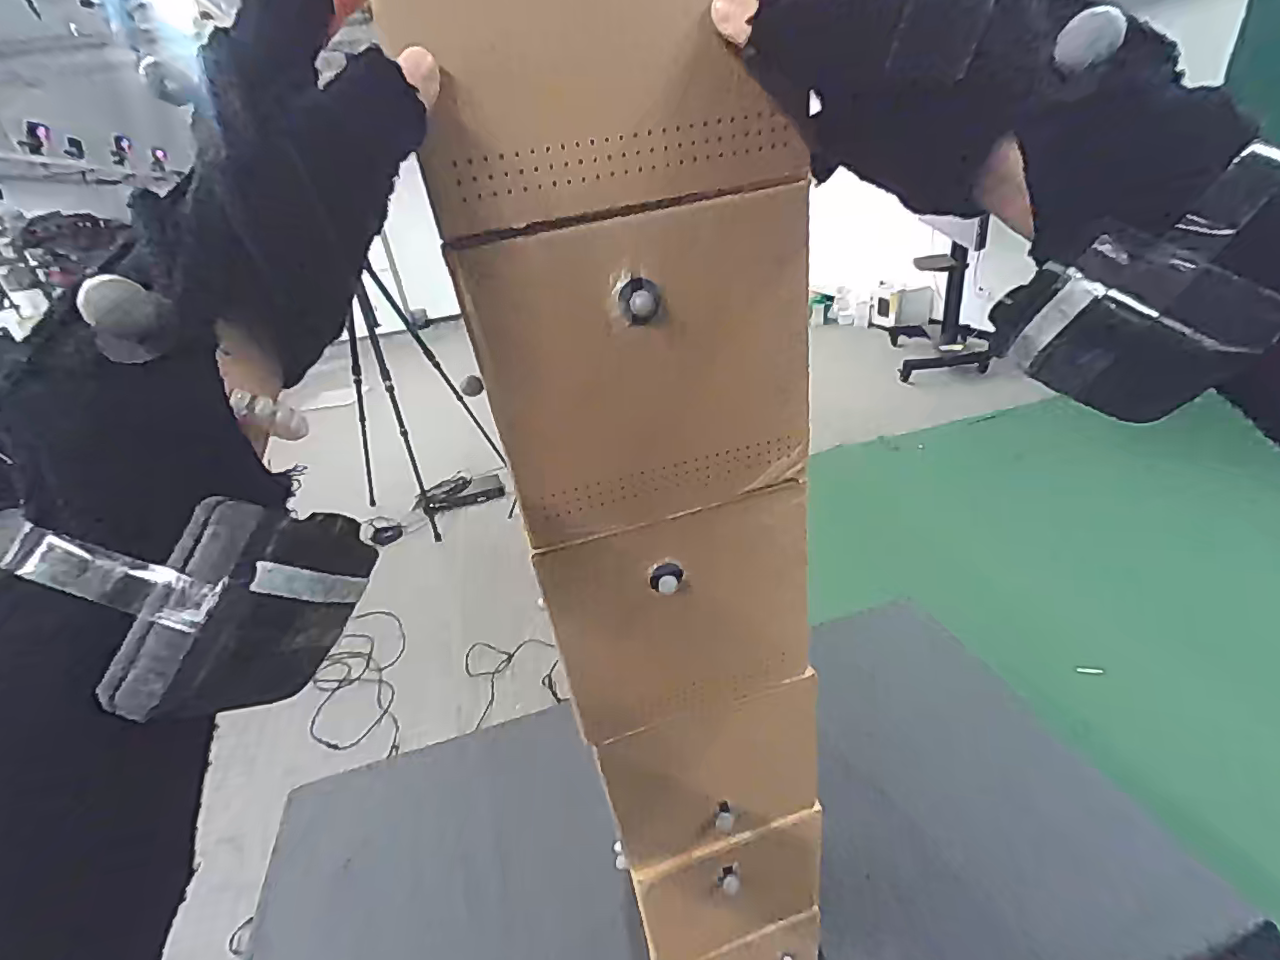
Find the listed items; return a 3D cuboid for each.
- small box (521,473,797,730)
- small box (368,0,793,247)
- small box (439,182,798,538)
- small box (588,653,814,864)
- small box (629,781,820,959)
[{"bbox_3d":[0.010,0.062,0.429,0.179,0.176,0.168,-14,28,-10],"label":"small box"},{"bbox_3d":[-0.034,-0.225,0.278,0.179,0.176,0.168,-15,28,-9],"label":"small box"},{"bbox_3d":[-0.010,-0.082,0.355,0.179,0.176,0.168,-13,28,-8],"label":"small box"},{"bbox_3d":[0.041,0.206,0.502,0.179,0.176,0.168,-13,27,-9],"label":"small box"},{"bbox_3d":[0.067,0.352,0.571,0.179,0.176,0.168,-15,28,-11],"label":"small box"}]
